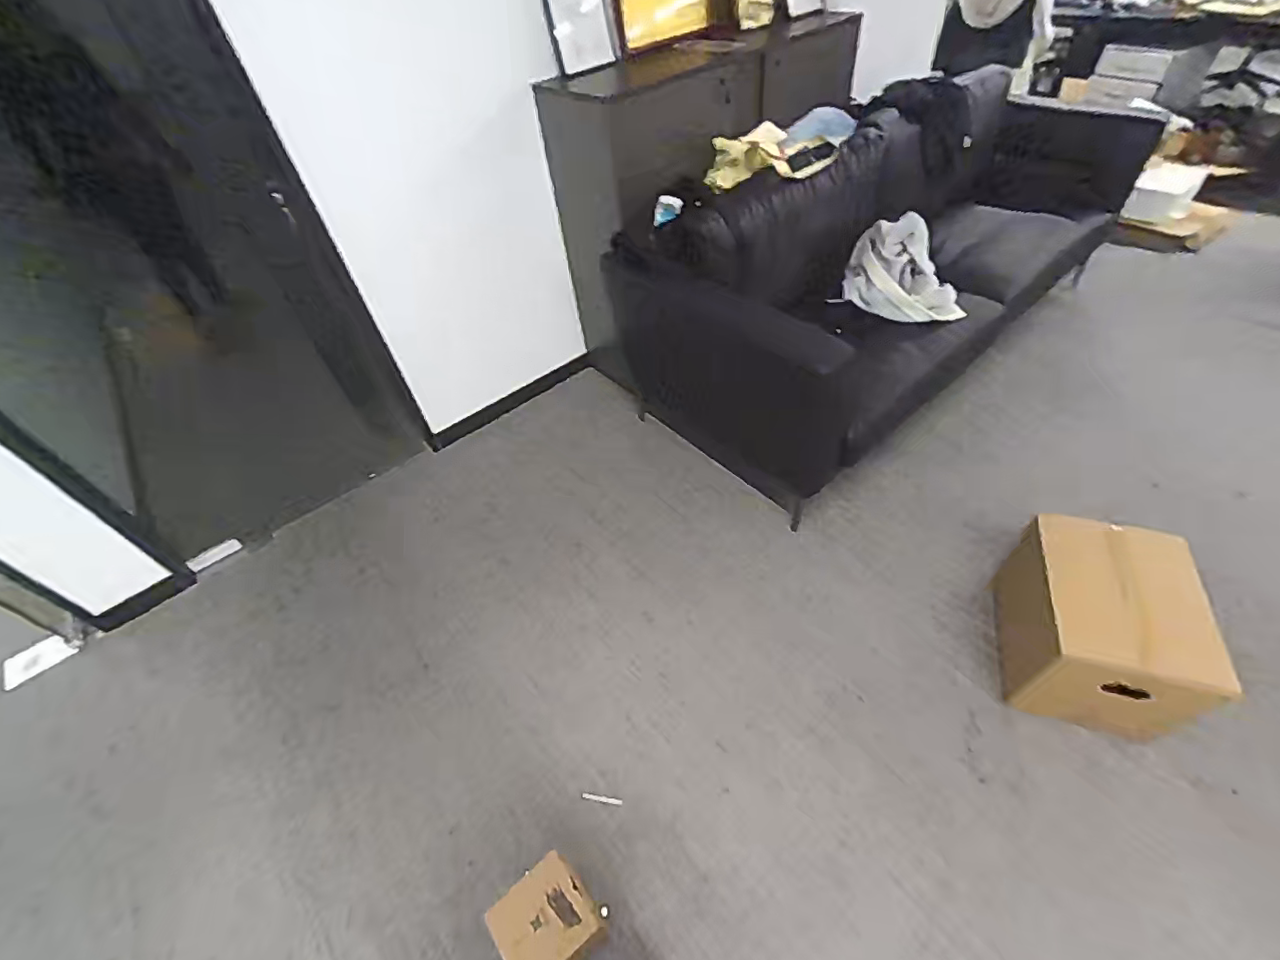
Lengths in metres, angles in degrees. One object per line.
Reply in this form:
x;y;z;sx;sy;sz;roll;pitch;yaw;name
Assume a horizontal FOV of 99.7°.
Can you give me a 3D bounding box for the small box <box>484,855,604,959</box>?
-0.188;0.921;1.110;0.179;0.176;0.168;-33;52;-22;small box
